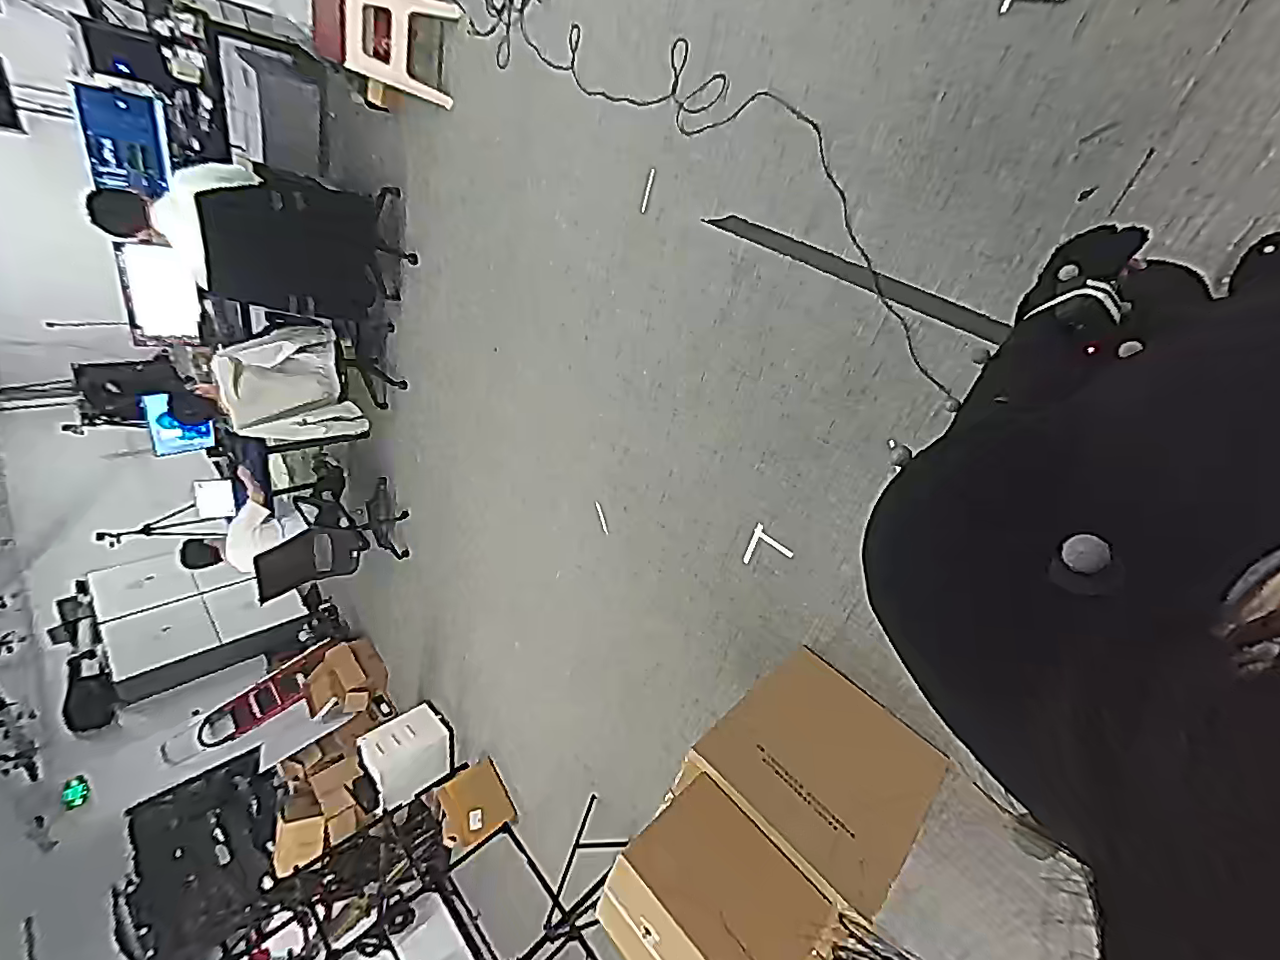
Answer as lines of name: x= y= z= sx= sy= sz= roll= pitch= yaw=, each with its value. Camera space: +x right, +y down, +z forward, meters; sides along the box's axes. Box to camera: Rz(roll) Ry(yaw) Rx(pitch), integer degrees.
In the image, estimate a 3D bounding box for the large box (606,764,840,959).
large box: x=0.184 y=0.991 z=1.283 sx=0.408 sy=0.320 sz=0.320 roll=36 pitch=126 yaw=32
